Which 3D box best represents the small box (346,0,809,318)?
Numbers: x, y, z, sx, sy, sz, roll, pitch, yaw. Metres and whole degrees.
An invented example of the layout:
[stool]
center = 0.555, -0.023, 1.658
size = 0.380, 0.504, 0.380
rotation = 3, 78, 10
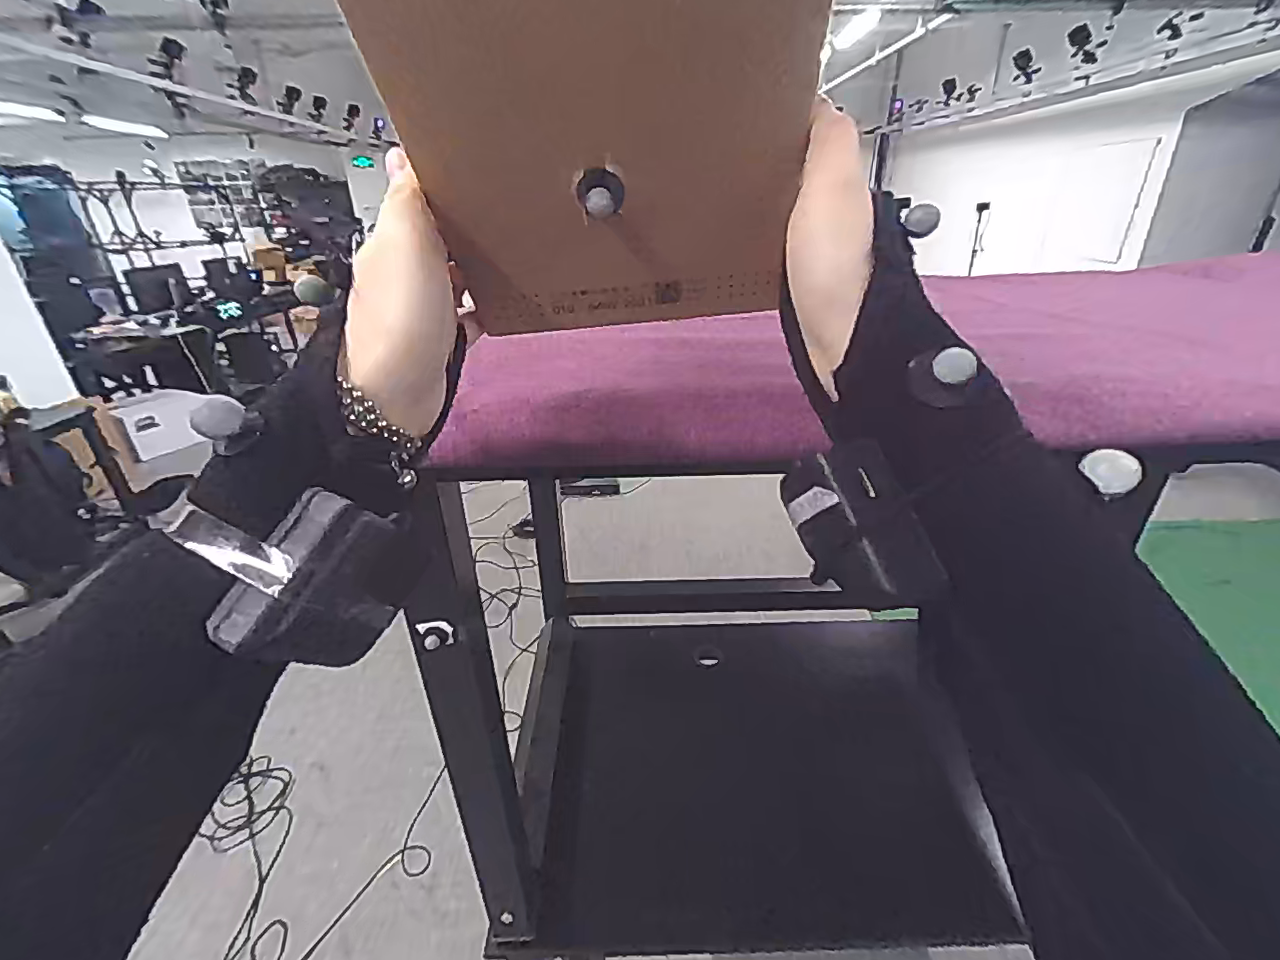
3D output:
[small box]
center = -0.015, -0.202, 0.284
size = 0.168, 0.176, 0.179
rotation = -4, 59, 3
